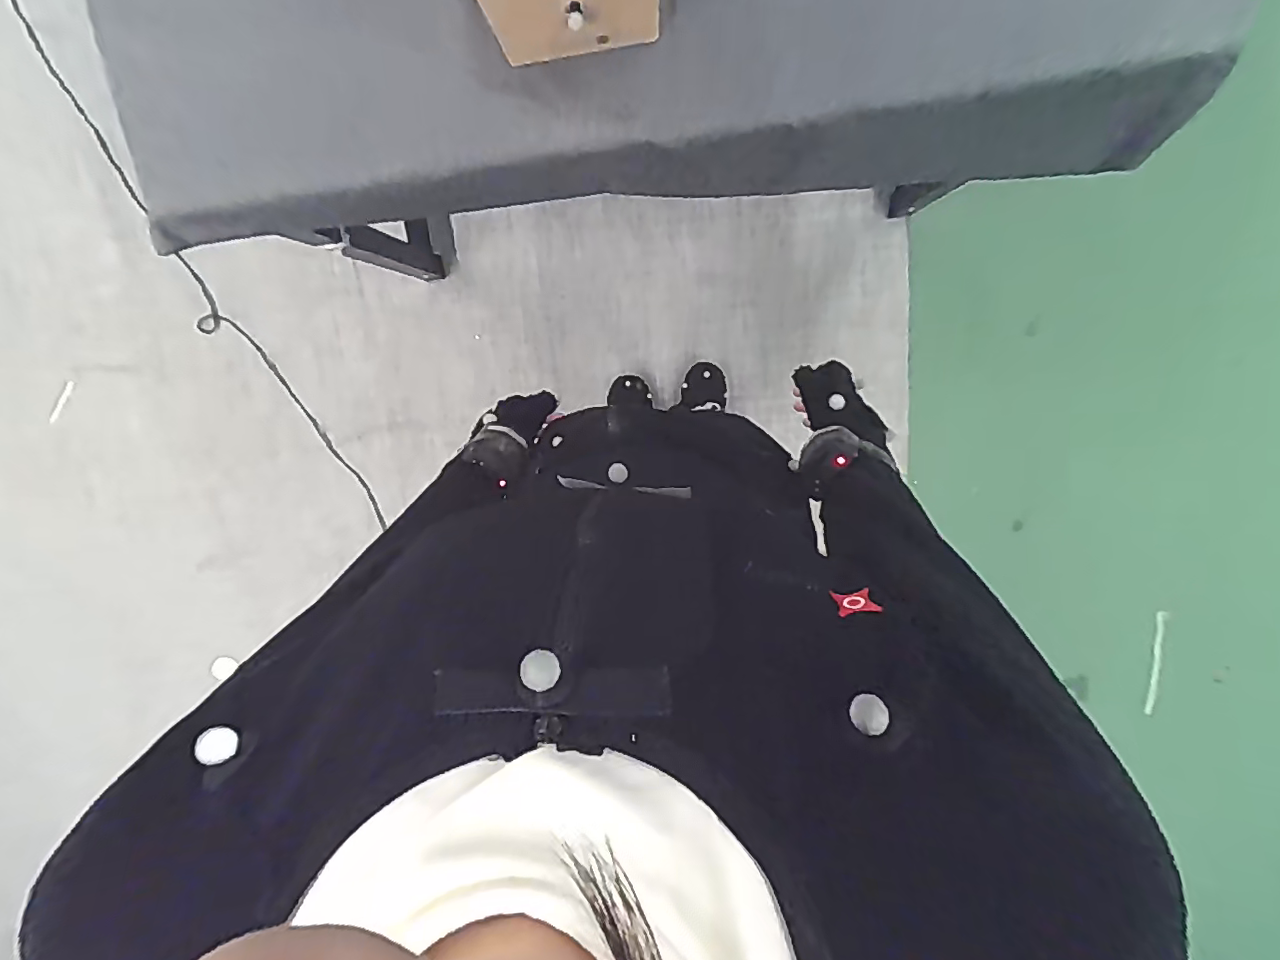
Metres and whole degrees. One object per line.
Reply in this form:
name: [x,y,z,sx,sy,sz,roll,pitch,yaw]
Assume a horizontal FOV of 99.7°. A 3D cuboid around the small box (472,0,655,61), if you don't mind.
small box: [-0.078,-0.525,0.496,0.168,0.176,0.179,-8,103,4]
